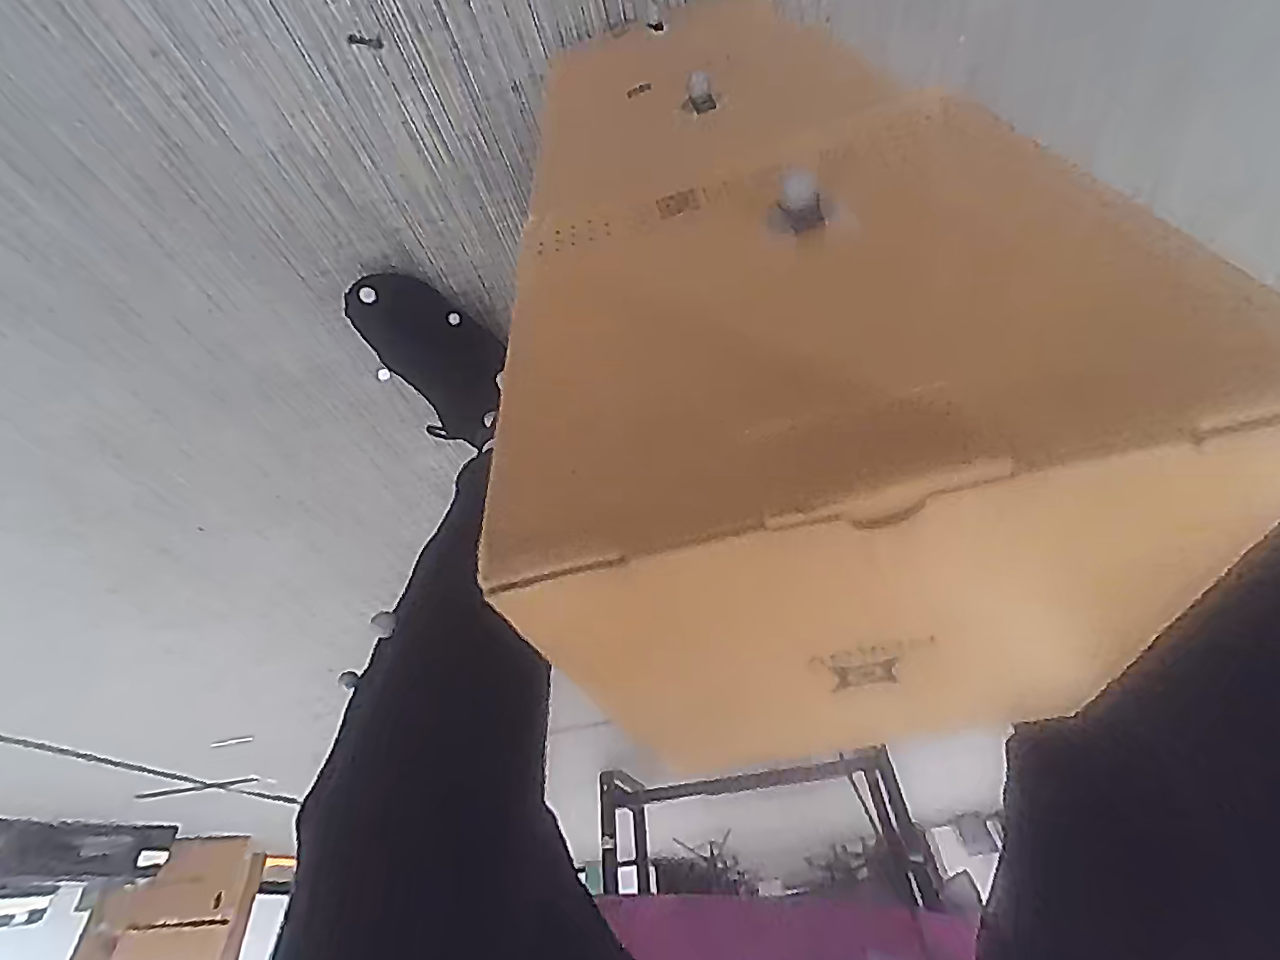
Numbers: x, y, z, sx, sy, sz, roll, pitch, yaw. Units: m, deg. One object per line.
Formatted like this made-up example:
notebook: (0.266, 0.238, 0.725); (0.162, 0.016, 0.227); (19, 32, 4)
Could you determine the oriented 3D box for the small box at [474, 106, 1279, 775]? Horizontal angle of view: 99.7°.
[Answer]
small box: (0.060, -0.004, 0.213); (0.168, 0.176, 0.179); (-14, 137, 8)
